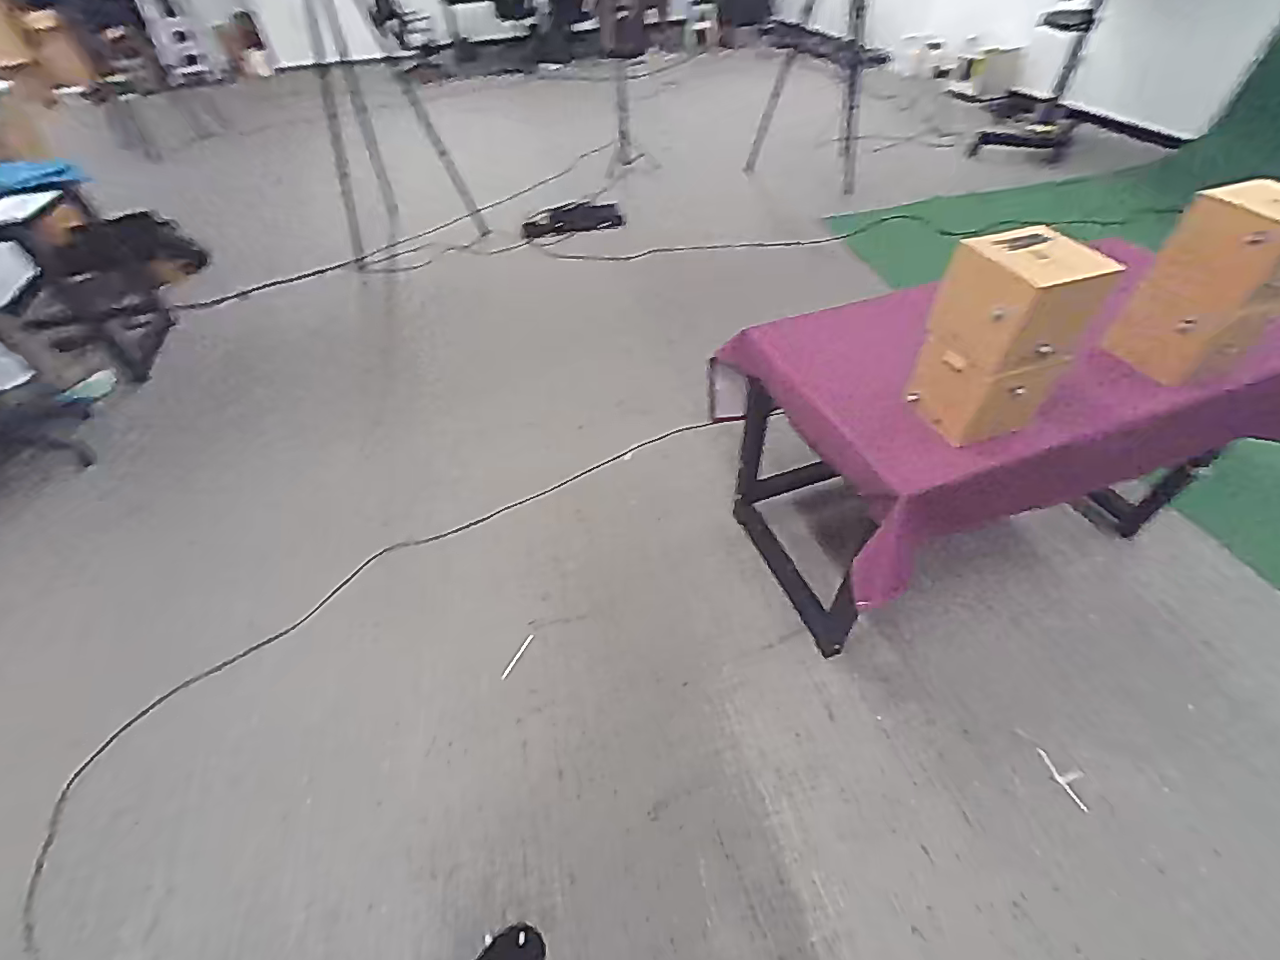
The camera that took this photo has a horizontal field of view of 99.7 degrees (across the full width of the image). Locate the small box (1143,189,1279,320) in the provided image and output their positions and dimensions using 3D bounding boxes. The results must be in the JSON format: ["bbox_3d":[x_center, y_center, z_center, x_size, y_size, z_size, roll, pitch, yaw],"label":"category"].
[{"bbox_3d":[1.147,-0.432,1.038,0.168,0.176,0.179,-15,49,-10],"label":"small box"}]

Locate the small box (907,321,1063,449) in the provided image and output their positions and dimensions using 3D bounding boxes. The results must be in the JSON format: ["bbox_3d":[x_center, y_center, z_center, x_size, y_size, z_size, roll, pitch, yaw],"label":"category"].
[{"bbox_3d":[0.653,-0.182,1.056,0.179,0.176,0.168,-15,48,-12],"label":"small box"}]
